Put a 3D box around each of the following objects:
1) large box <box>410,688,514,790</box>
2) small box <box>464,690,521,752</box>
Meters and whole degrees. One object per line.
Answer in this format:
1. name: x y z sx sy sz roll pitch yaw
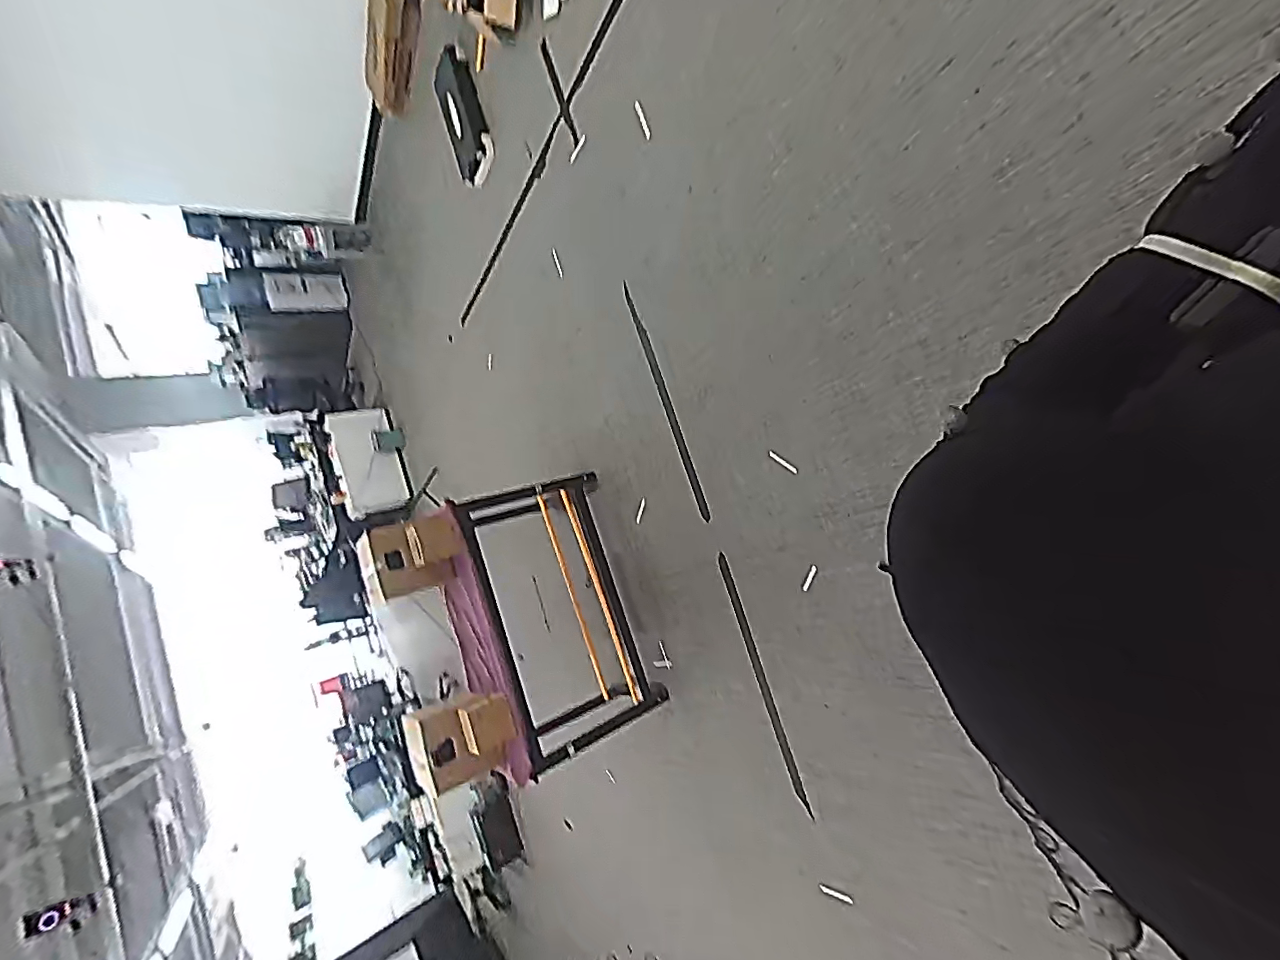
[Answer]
1. large box: -0.818 1.159 2.465 0.408 0.320 0.320 -29 77 52
2. small box: -0.609 0.993 2.241 0.168 0.176 0.179 -33 74 55
